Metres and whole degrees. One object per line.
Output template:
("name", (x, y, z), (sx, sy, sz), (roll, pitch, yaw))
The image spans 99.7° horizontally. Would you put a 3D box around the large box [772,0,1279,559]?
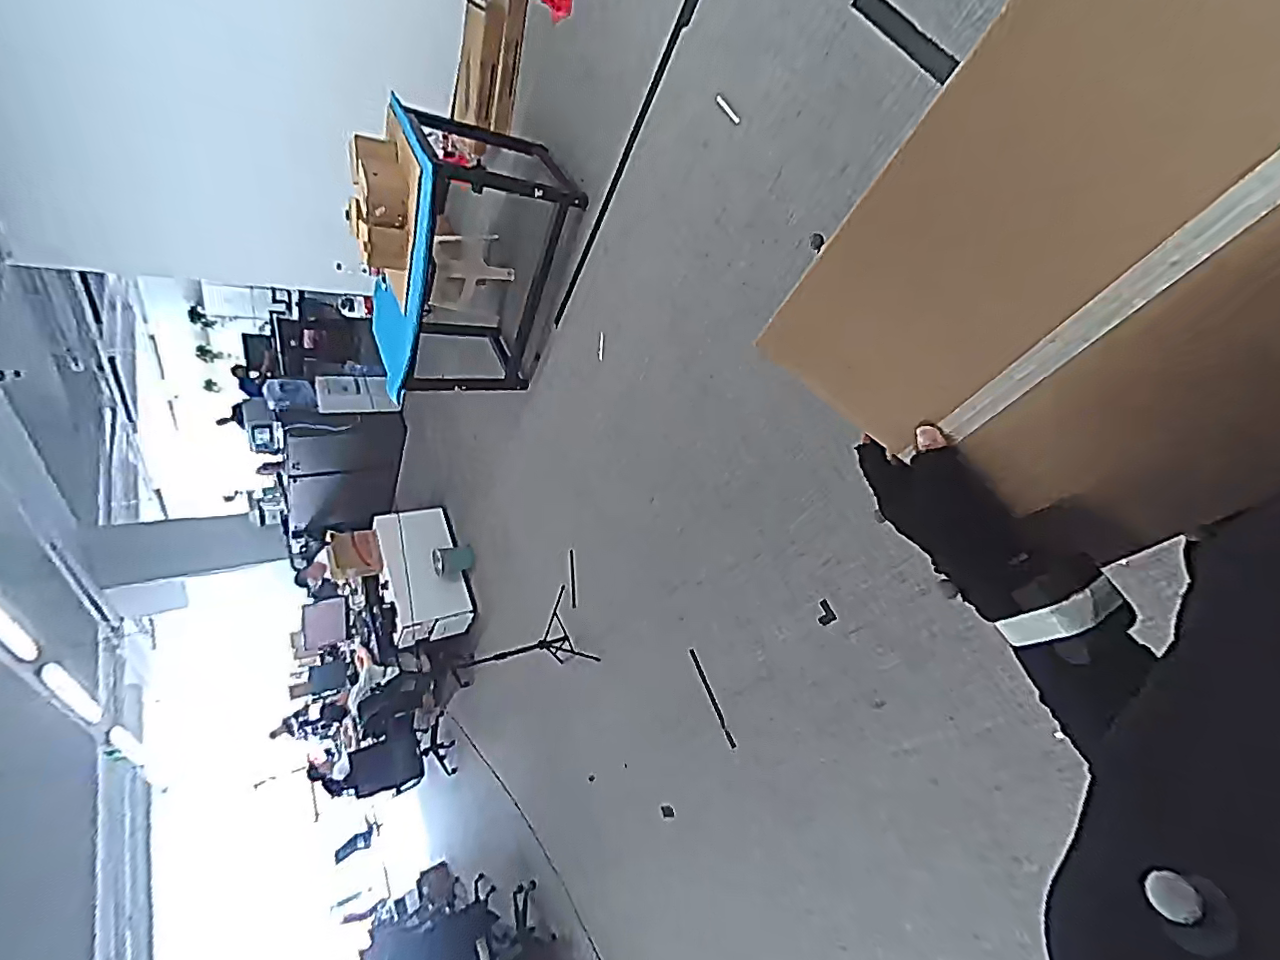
("large box", (0.373, -0.219, 0.403), (0.320, 0.320, 0.408), (38, 137, 2))
